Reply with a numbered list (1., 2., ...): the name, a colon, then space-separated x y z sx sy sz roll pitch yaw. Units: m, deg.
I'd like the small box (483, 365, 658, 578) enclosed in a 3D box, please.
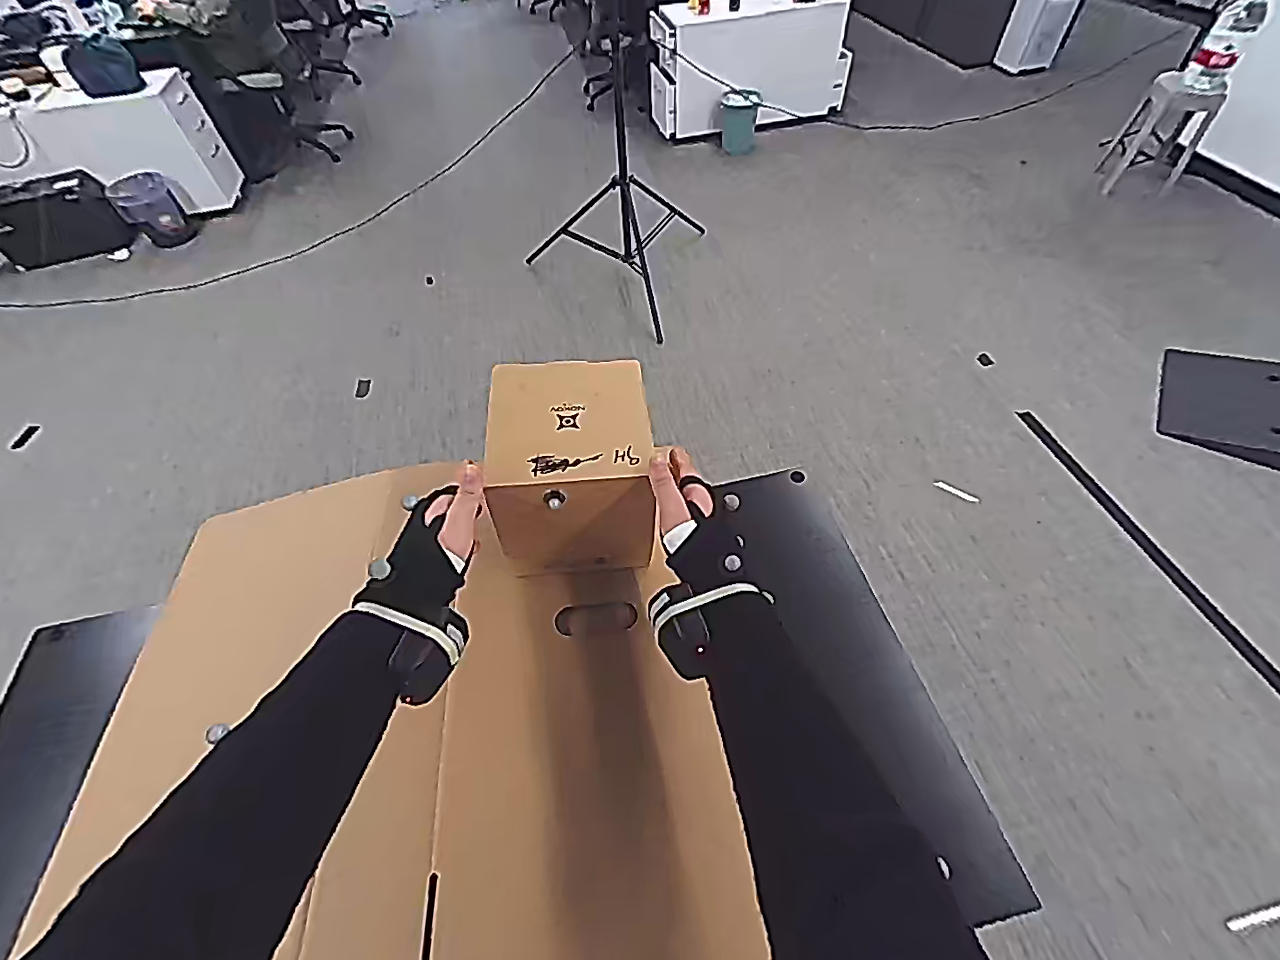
1. small box: -0.074 -0.009 0.617 0.168 0.176 0.179 -4 50 -5
